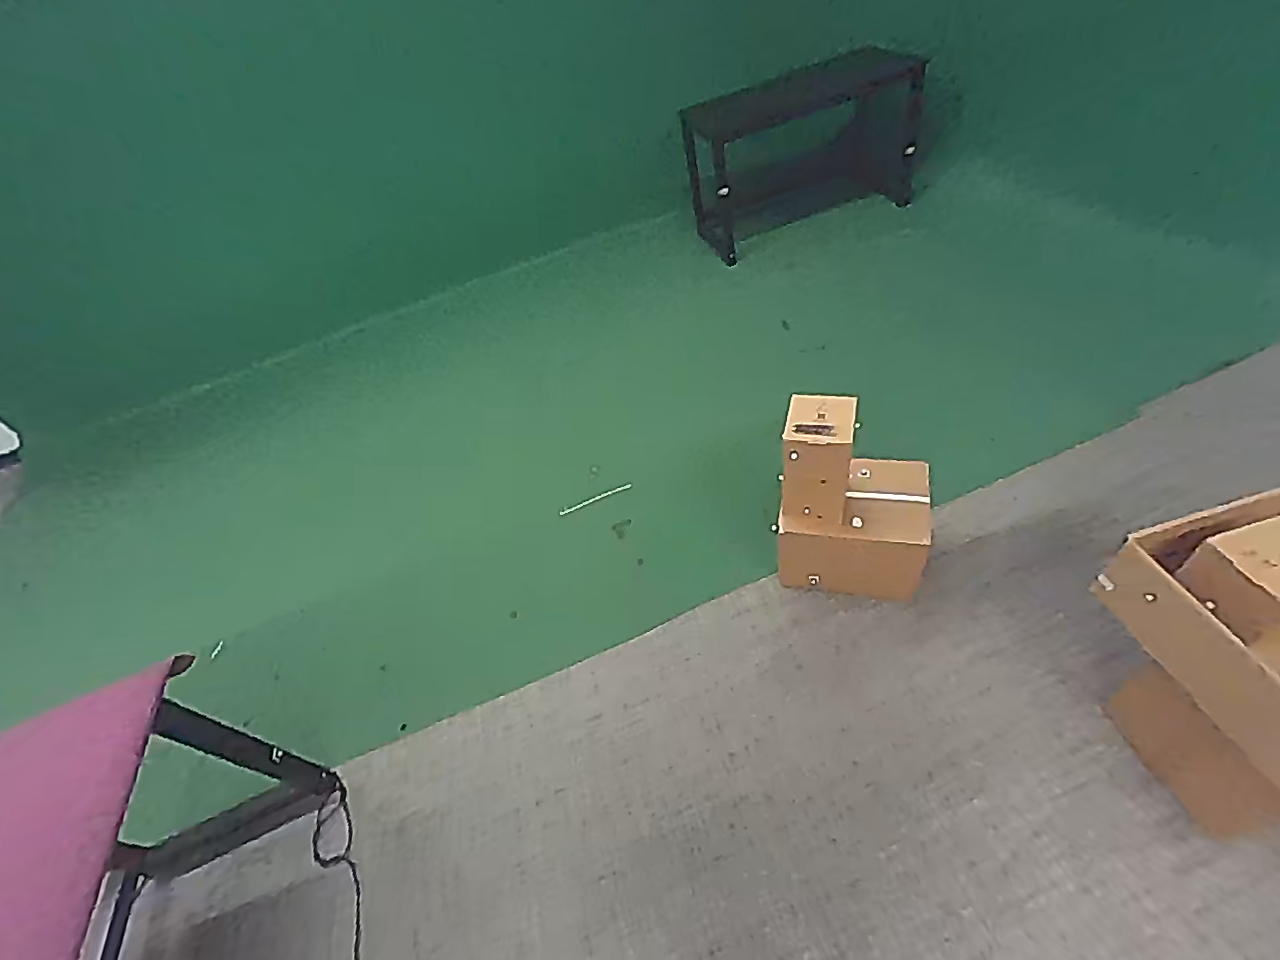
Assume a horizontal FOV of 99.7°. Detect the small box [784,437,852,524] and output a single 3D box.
[{"bbox_3d":[0.509,0.002,1.556,0.168,0.176,0.179,6,52,20],"label":"small box"}]
